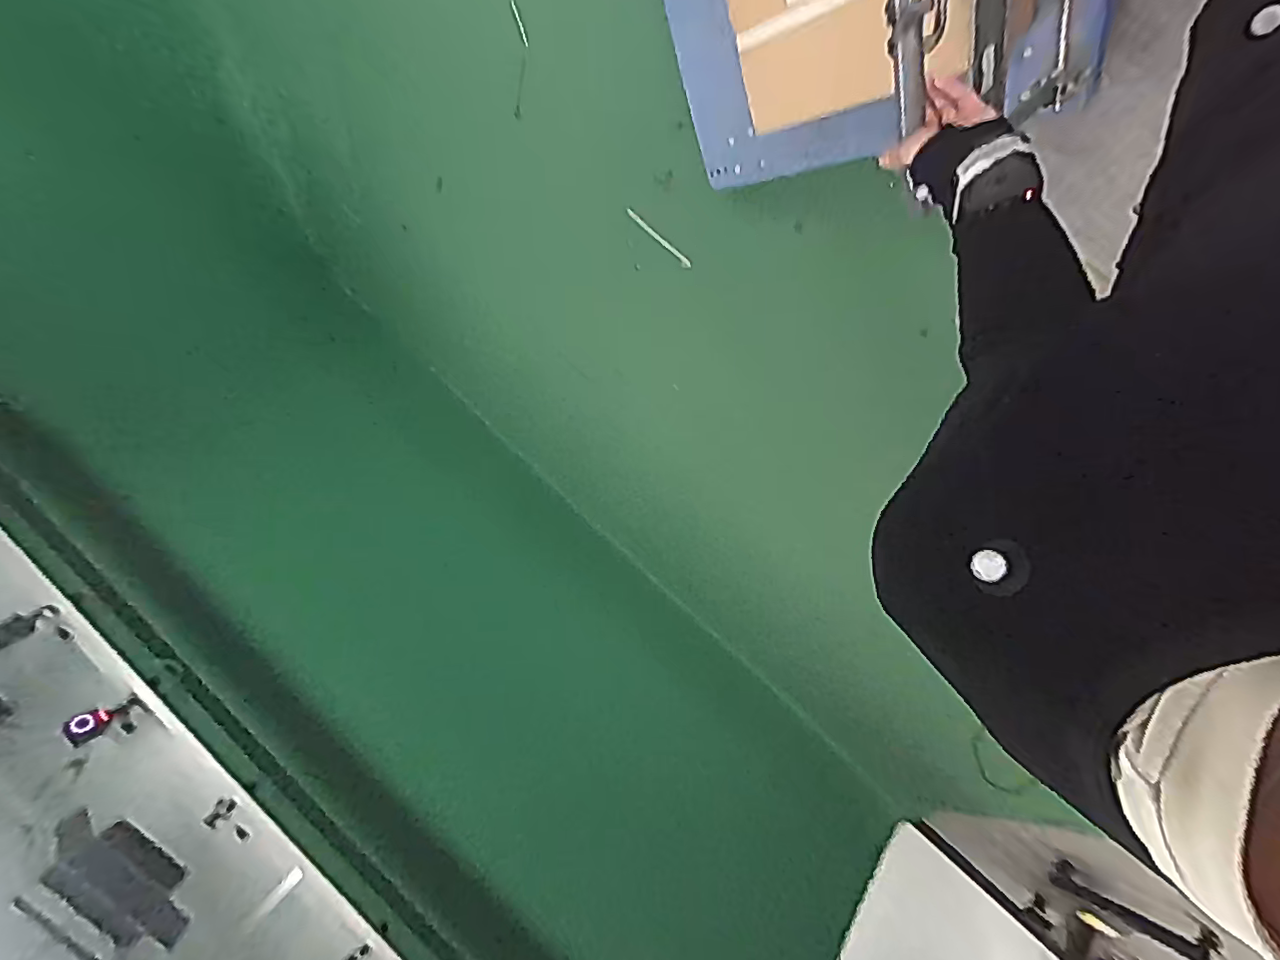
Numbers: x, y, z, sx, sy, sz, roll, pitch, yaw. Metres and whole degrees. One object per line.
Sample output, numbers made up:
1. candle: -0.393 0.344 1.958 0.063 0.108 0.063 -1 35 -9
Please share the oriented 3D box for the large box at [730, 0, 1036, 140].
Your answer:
1. large box: 0.422 -0.868 0.951 0.408 0.320 0.320 14 138 44
